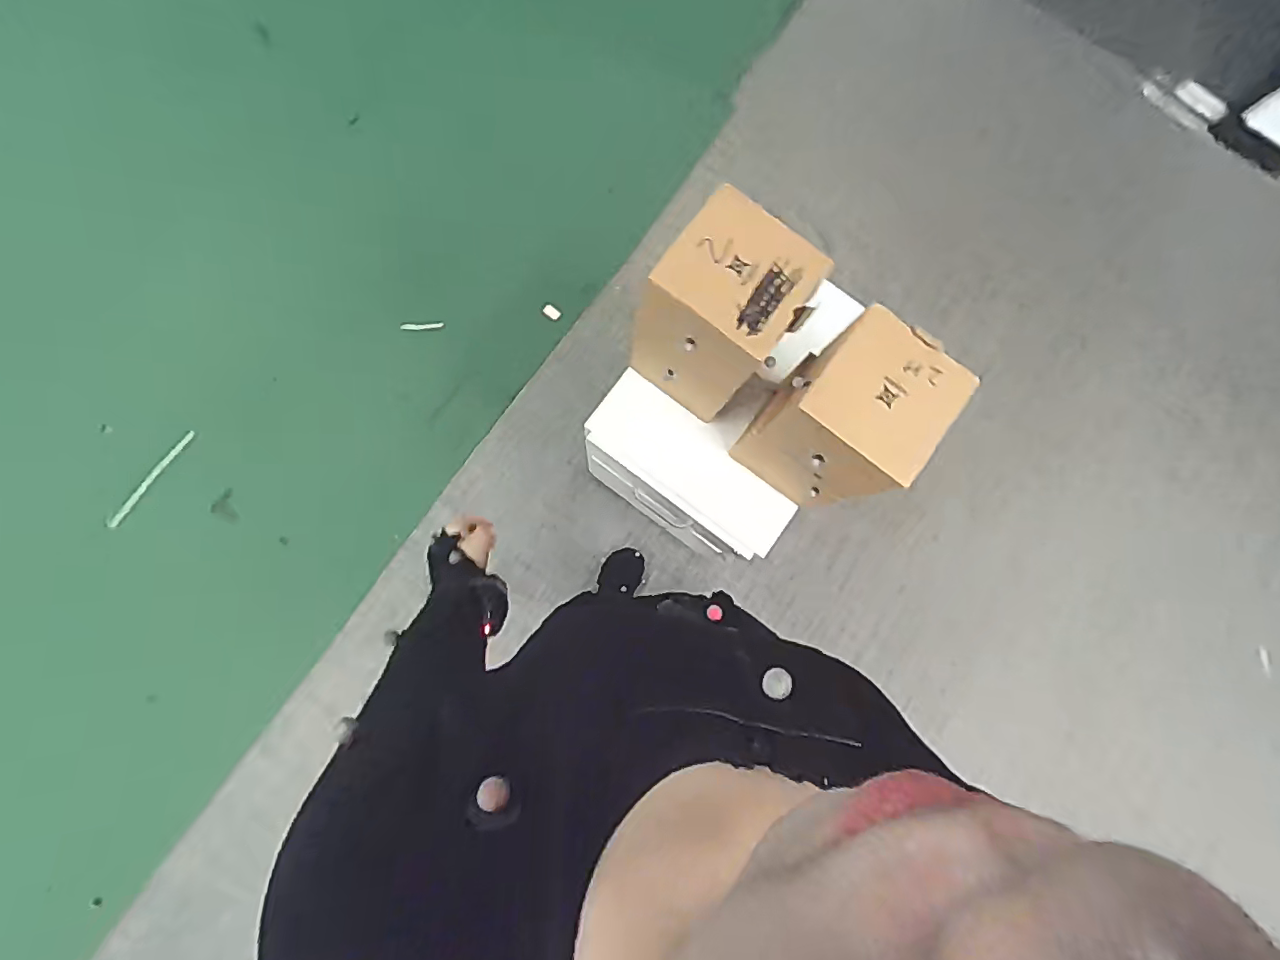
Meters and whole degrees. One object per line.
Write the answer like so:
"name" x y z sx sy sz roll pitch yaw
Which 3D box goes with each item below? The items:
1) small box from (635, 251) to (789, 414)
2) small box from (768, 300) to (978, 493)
"small box" 0.107 -0.232 0.901 0.179 0.176 0.168 36 82 -1
"small box" 0.295 -0.098 0.732 0.168 0.176 0.179 38 81 0
